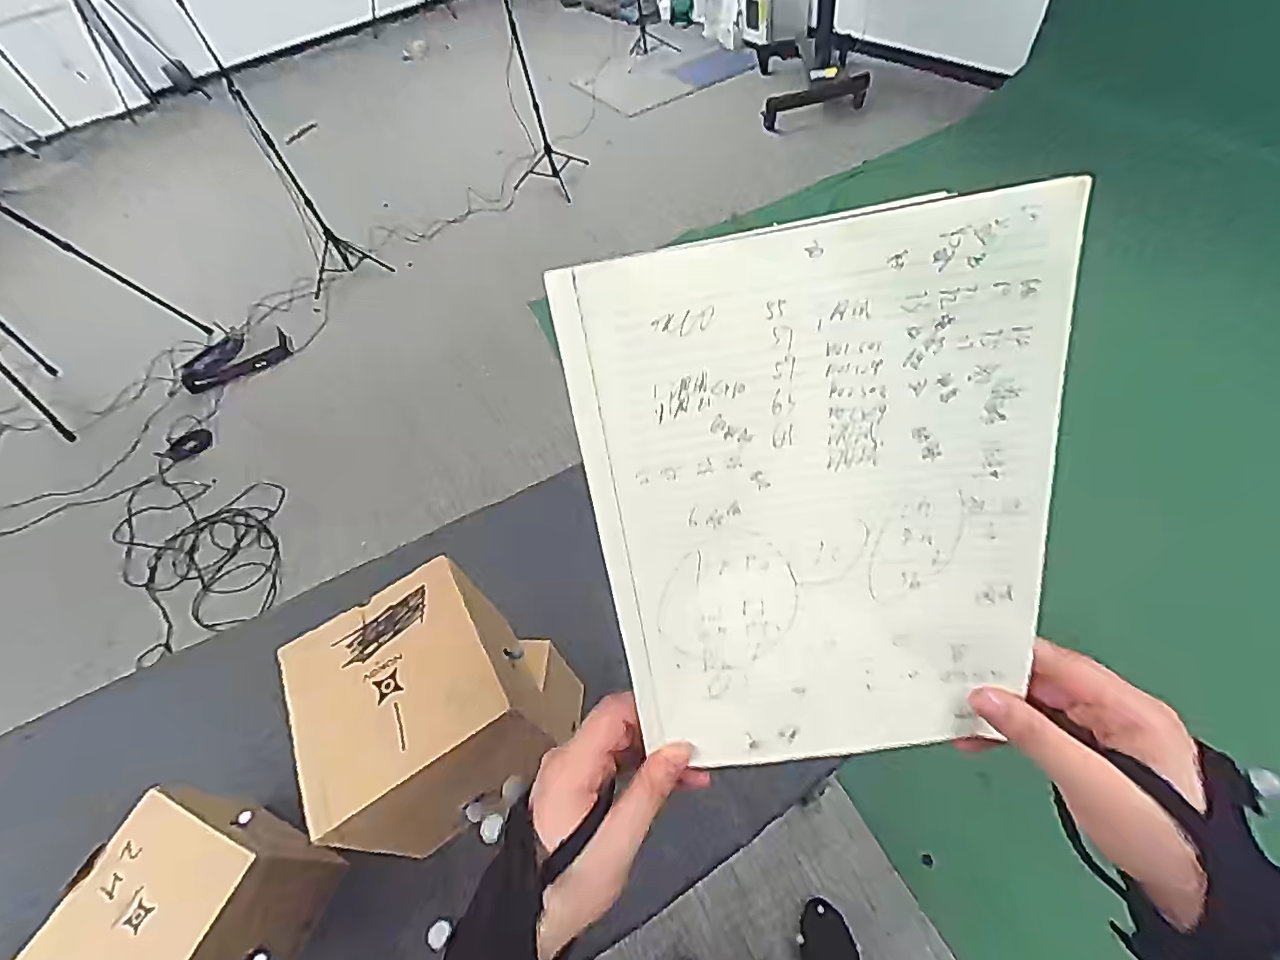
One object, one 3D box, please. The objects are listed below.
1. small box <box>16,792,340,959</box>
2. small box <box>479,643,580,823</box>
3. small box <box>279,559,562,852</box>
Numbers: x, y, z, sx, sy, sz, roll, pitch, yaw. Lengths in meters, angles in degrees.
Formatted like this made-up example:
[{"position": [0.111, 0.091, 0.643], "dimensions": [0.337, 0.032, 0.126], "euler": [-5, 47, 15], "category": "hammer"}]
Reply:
[{"position": [-0.475, 0.468, 0.584], "dimensions": [0.179, 0.176, 0.168], "euler": [12, 56, 21], "category": "small box"}, {"position": [-0.179, 0.305, 0.649], "dimensions": [0.179, 0.176, 0.168], "euler": [-5, 52, 10], "category": "small box"}, {"position": [-0.198, 0.215, 0.511], "dimensions": [0.168, 0.176, 0.179], "euler": [-31, 53, -11], "category": "small box"}]
